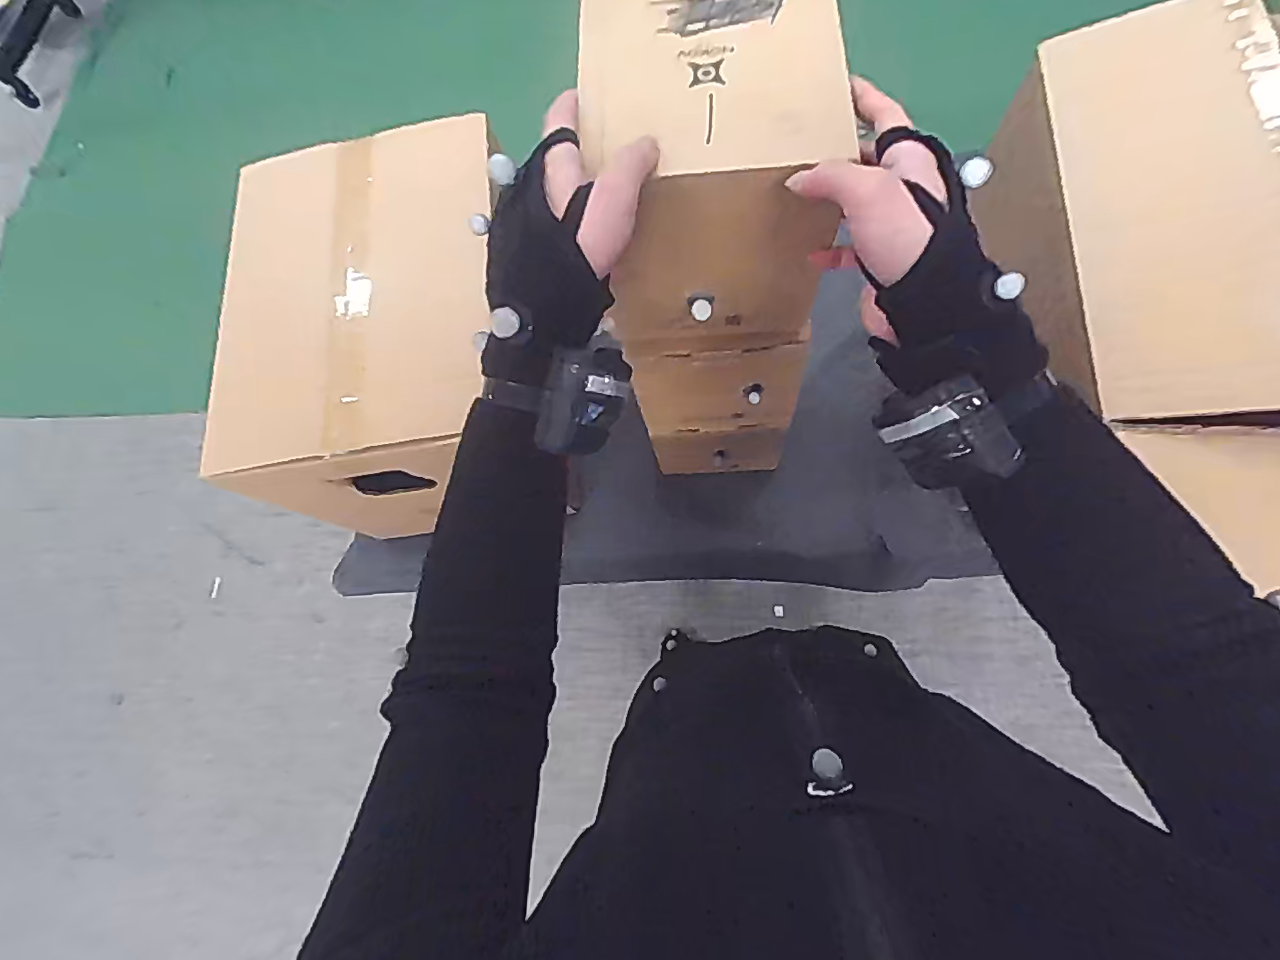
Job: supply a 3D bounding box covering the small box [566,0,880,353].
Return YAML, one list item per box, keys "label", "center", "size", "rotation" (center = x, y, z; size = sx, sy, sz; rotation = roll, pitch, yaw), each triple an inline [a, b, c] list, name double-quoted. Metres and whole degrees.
- label: "small box"
  center: [0.049, -0.210, 0.382]
  size: [0.168, 0.176, 0.179]
  rotation: [-2, 73, 5]
